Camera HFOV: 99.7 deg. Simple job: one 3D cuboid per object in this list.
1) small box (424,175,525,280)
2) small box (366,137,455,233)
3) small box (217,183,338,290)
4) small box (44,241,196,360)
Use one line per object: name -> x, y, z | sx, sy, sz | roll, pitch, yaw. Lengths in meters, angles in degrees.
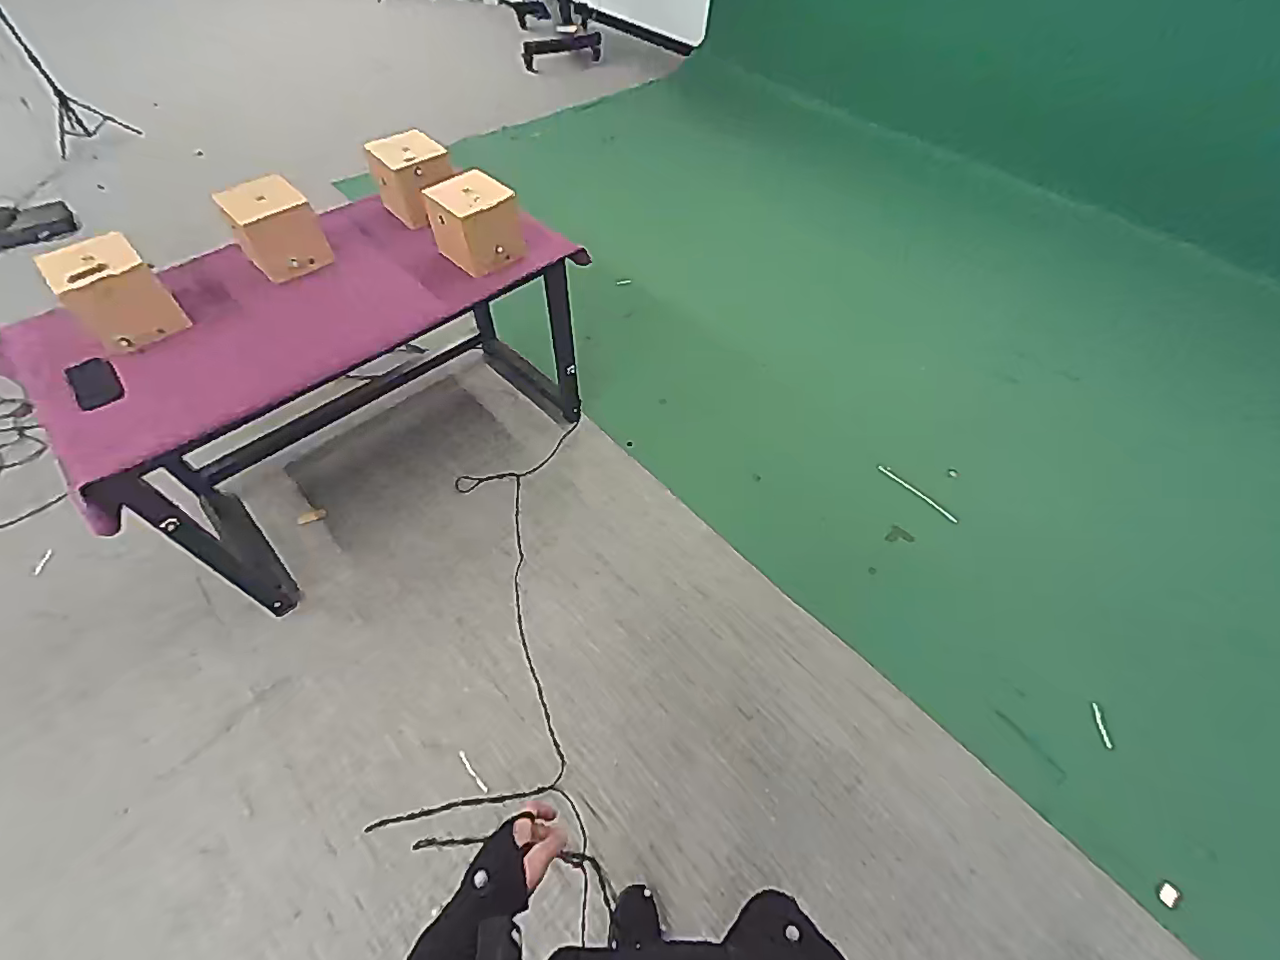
small box -> -0.424, -0.653, 1.406 | 0.168, 0.176, 0.179 | -39, 64, -23
small box -> -0.636, -0.836, 1.538 | 0.168, 0.176, 0.179 | -37, 63, -23
small box -> -0.918, -0.618, 1.382 | 0.168, 0.176, 0.179 | -39, 64, -24
small box -> -1.161, -0.398, 1.221 | 0.168, 0.176, 0.179 | -38, 63, -24
